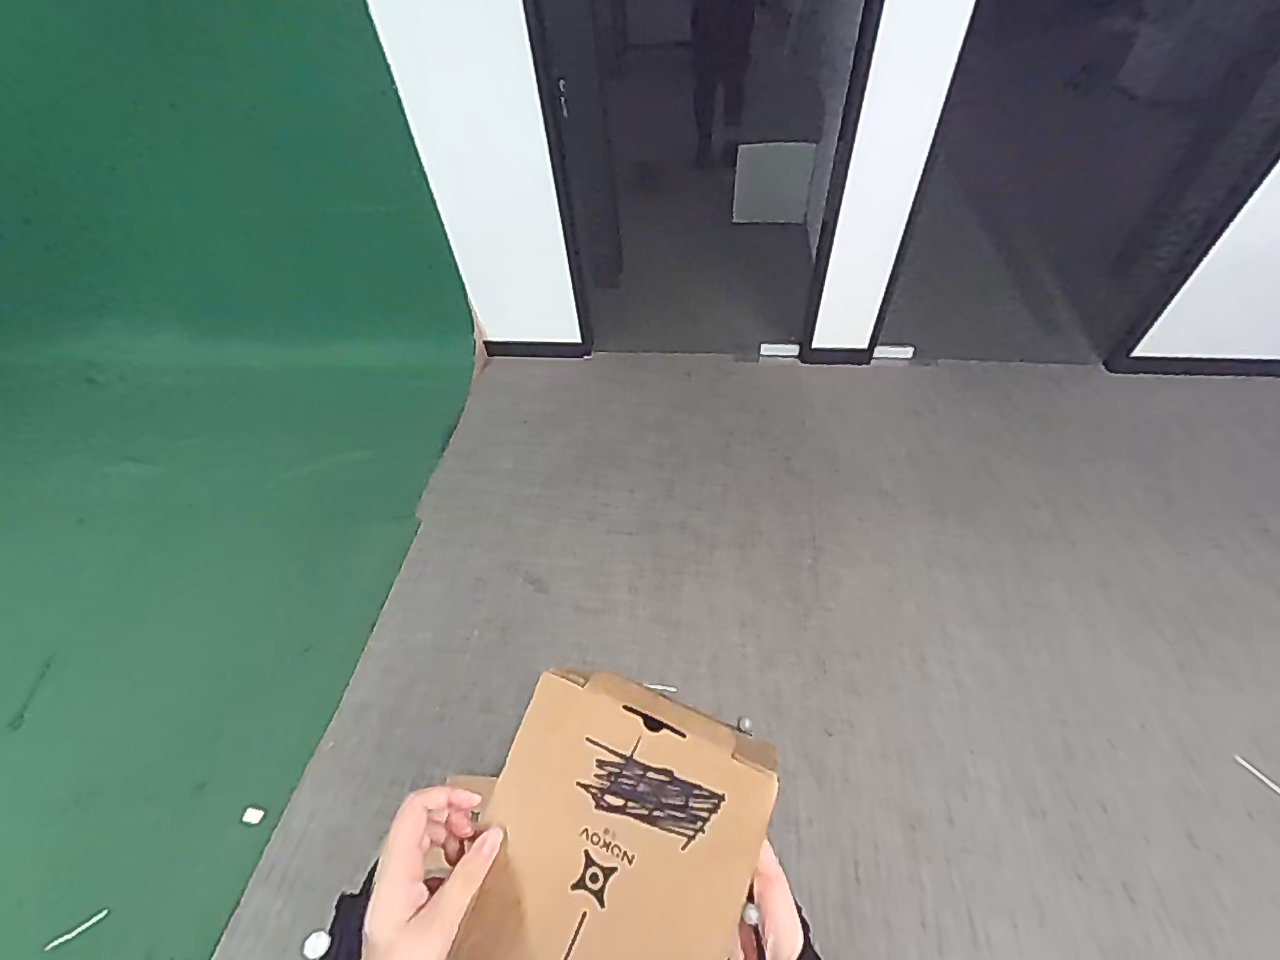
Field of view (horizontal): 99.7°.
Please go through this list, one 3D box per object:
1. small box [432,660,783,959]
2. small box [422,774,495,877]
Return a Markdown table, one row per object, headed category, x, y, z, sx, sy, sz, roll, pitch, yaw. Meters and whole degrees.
| category | x | y | z | sx | sy | sz | roll | pitch | yaw |
| --- | --- | --- | --- | --- | --- | --- | --- | --- | --- |
| small box | -0.005 | 0.248 | 0.393 | 0.168 | 0.176 | 0.179 | 18 | 76 | 19 |
| small box | -0.352 | 0.775 | 1.201 | 0.168 | 0.176 | 0.179 | 1 | 49 | 5 |
